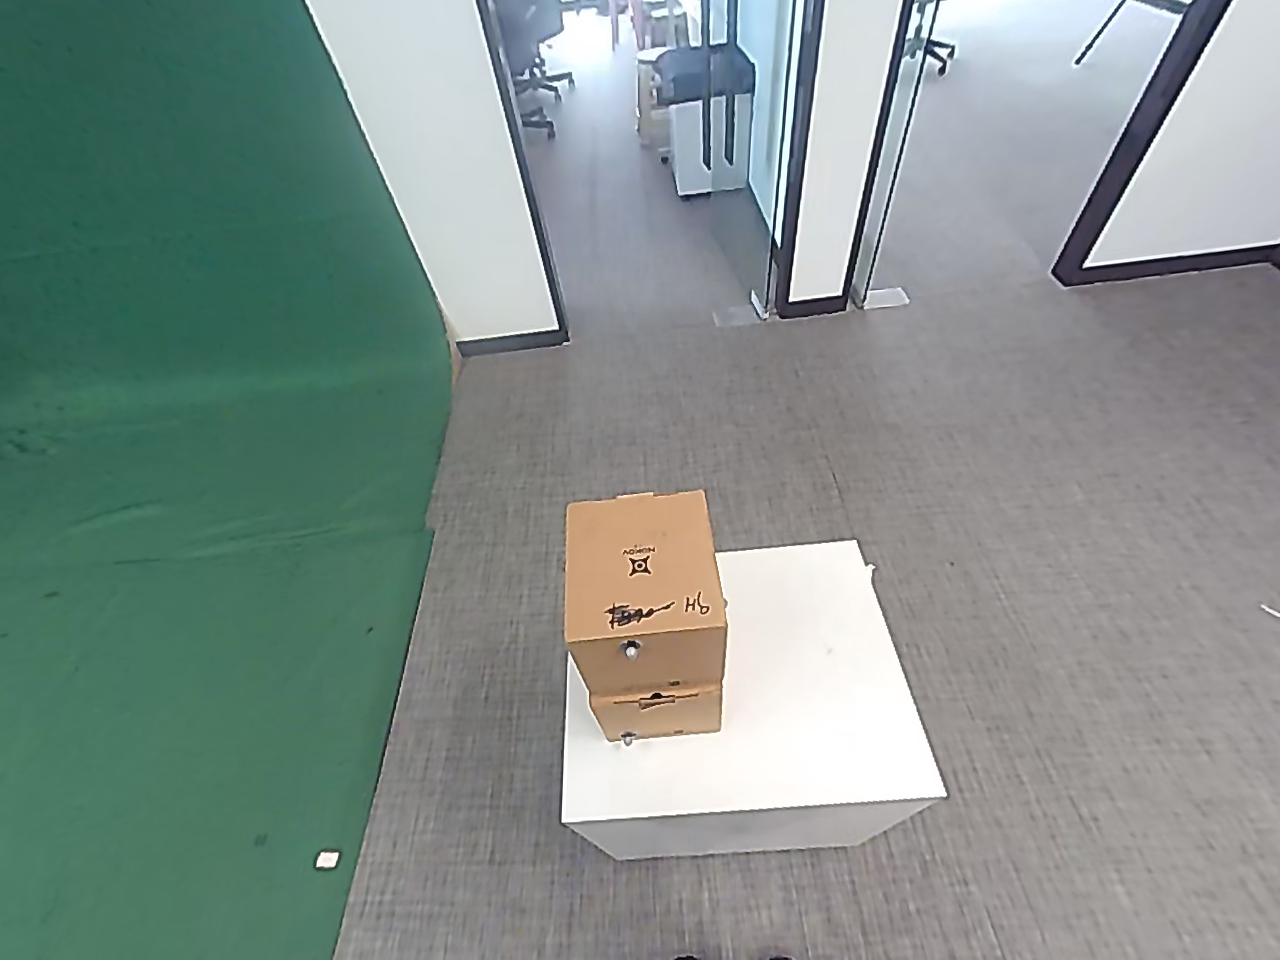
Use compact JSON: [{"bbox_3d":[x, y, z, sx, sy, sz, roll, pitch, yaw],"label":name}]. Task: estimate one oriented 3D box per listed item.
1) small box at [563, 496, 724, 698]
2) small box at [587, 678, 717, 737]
[{"bbox_3d":[0.006,0.144,0.658,0.168,0.176,0.179,-7,49,2],"label":"small box"},{"bbox_3d":[0.020,0.256,0.776,0.168,0.176,0.179,-6,49,2],"label":"small box"}]
